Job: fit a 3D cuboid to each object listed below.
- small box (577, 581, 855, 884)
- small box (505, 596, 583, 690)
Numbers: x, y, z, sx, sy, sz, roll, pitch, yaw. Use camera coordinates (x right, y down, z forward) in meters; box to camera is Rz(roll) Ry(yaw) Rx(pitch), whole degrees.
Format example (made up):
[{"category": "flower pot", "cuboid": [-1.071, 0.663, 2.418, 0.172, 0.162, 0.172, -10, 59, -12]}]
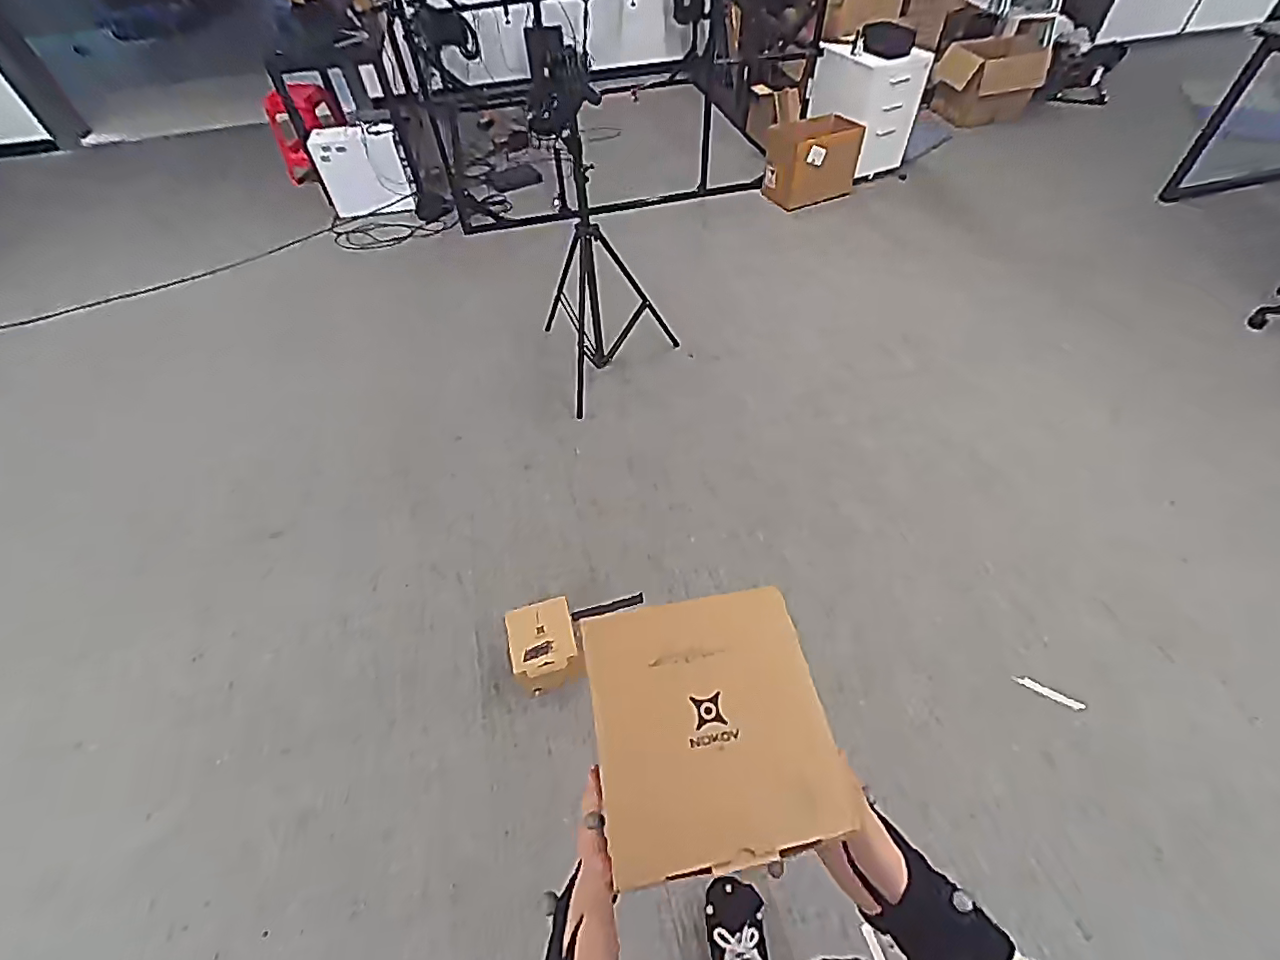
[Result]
[{"category": "small box", "cuboid": [0.043, 0.209, 0.451, 0.168, 0.176, 0.179, -8, 56, -10]}, {"category": "small box", "cuboid": [-0.252, 0.444, 1.452, 0.168, 0.176, 0.179, -14, 52, -9]}]
